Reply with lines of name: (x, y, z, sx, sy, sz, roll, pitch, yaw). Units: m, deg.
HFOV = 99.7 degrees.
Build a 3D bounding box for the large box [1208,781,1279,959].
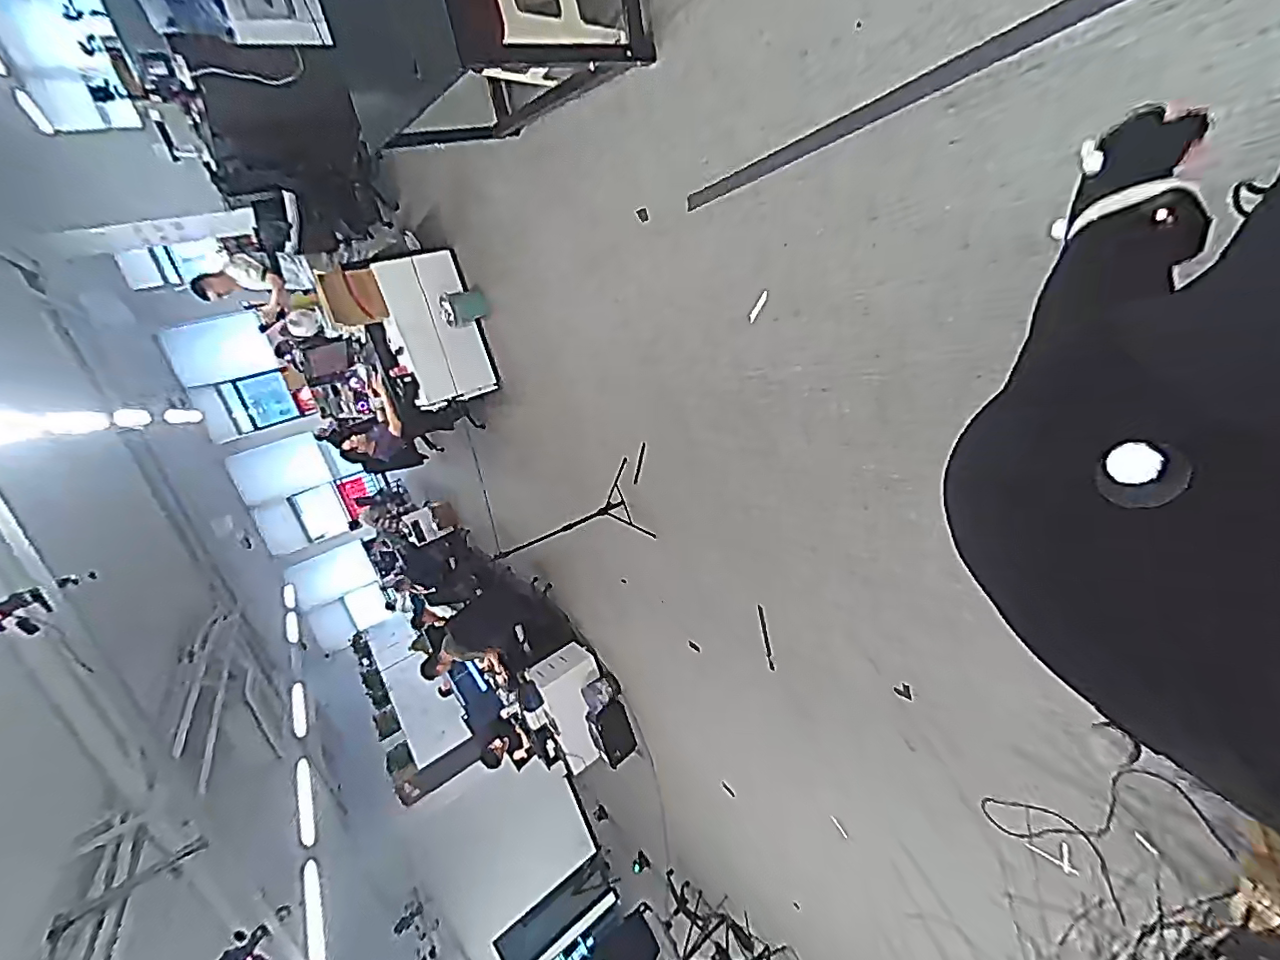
large box: (1.525, 0.941, 1.116, 0.408, 0.320, 0.320, 20, 128, 50)
